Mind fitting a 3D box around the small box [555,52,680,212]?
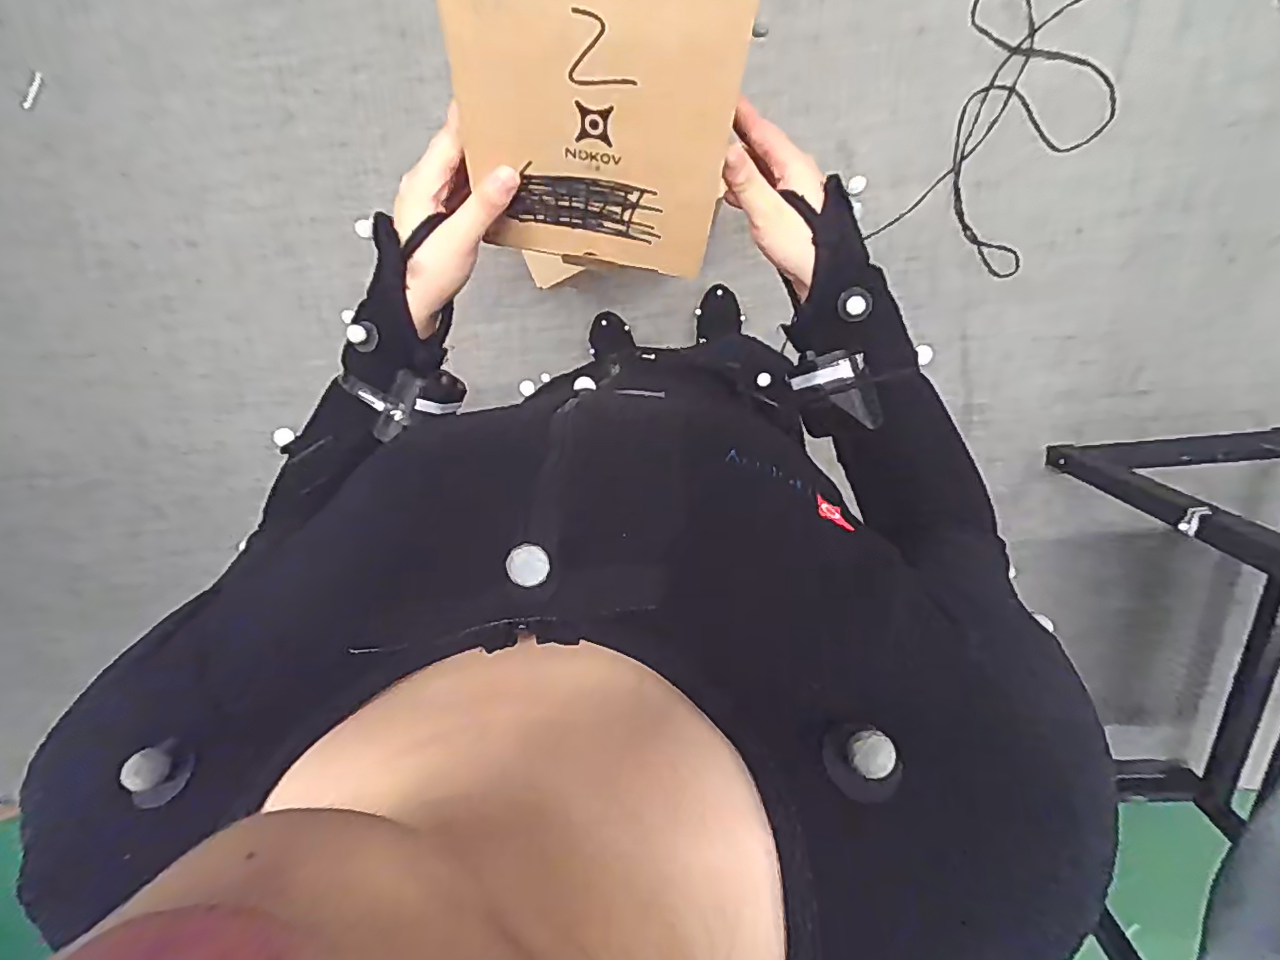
[{"bbox_3d":[-0.031,-0.569,0.913,0.168,0.176,0.179,16,113,-2],"label":"small box"}]
